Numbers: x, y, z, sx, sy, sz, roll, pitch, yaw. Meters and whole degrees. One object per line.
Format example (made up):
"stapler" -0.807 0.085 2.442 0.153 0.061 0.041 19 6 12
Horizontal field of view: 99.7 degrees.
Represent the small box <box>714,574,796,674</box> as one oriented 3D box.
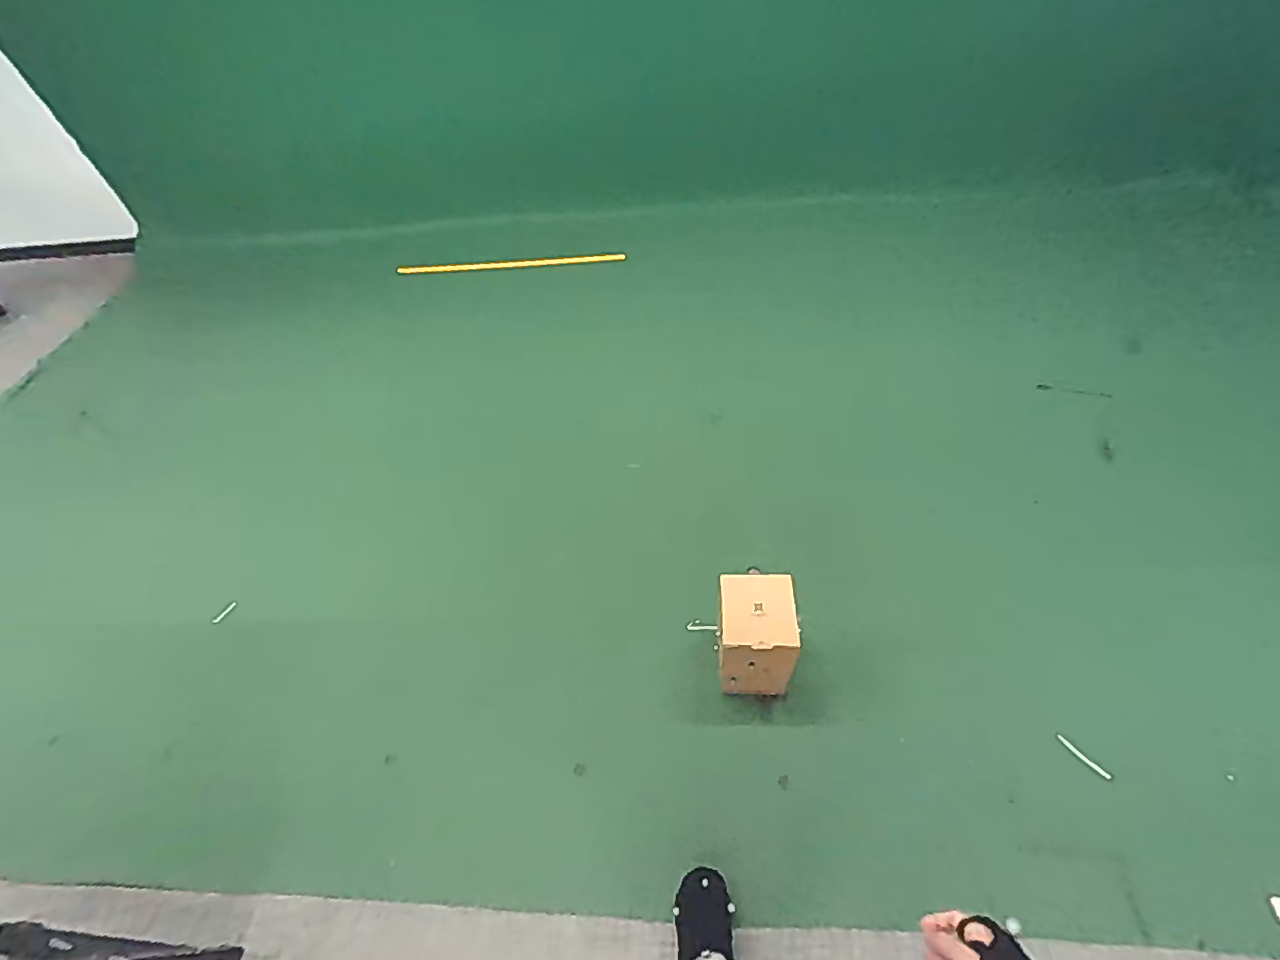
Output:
"small box" 0.262 0.339 1.275 0.168 0.176 0.179 0 51 4
